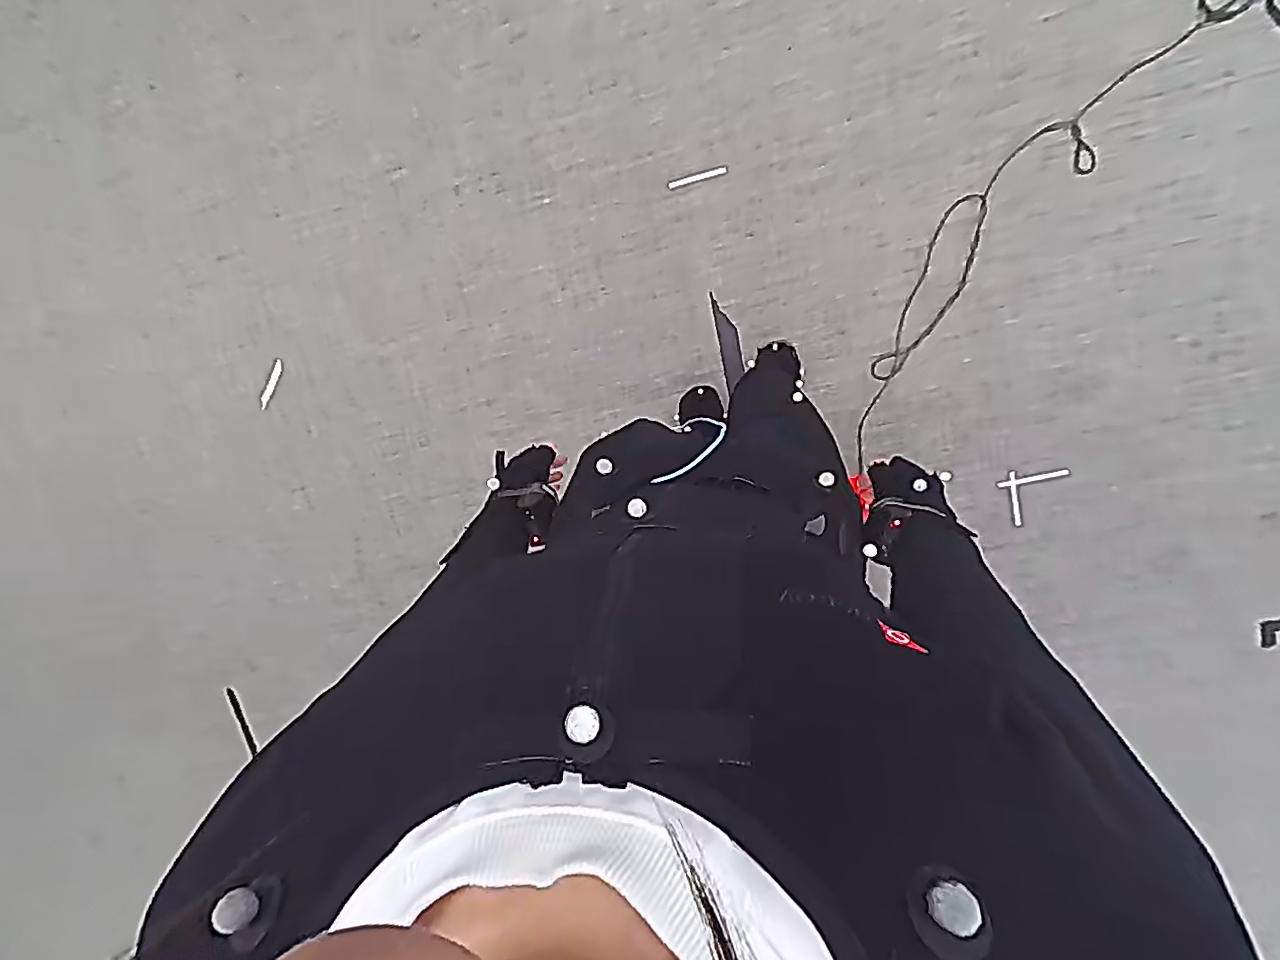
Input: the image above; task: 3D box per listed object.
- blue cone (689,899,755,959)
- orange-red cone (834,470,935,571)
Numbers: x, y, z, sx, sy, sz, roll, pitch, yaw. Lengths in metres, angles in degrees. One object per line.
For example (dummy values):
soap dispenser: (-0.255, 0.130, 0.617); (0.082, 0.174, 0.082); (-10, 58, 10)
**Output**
blue cone: (0.228, 1.427, 1.535); (0.192, 0.380, 0.193); (-6, 100, 12)
orange-red cone: (0.567, 0.114, 1.191); (0.199, 0.360, 0.198); (-6, 102, 10)
